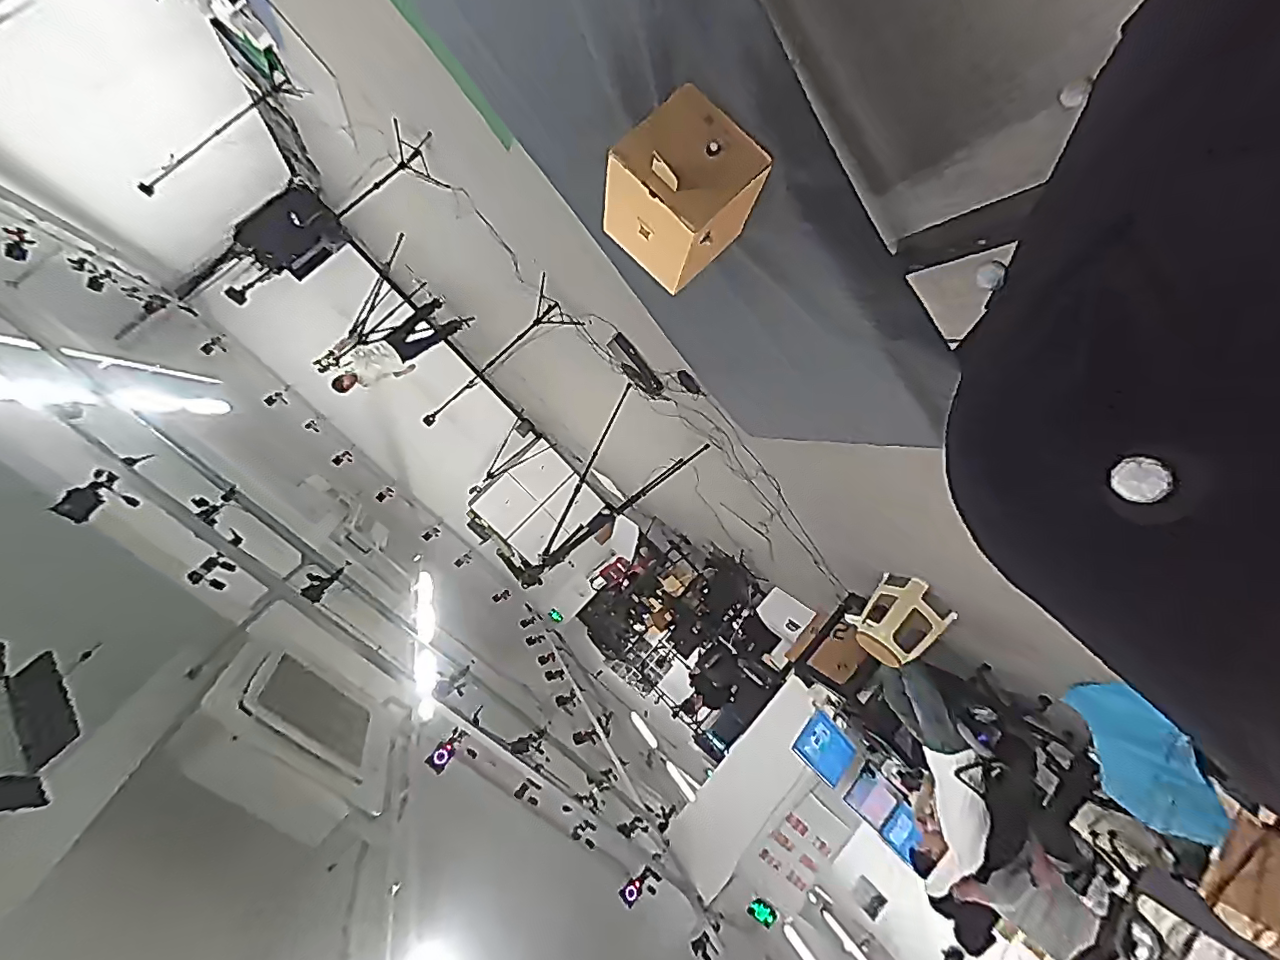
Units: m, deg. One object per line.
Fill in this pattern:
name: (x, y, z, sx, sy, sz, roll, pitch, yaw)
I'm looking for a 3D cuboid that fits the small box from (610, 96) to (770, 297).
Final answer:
small box: (0.072, -0.428, 0.835, 0.168, 0.176, 0.179, 44, 169, 2)
